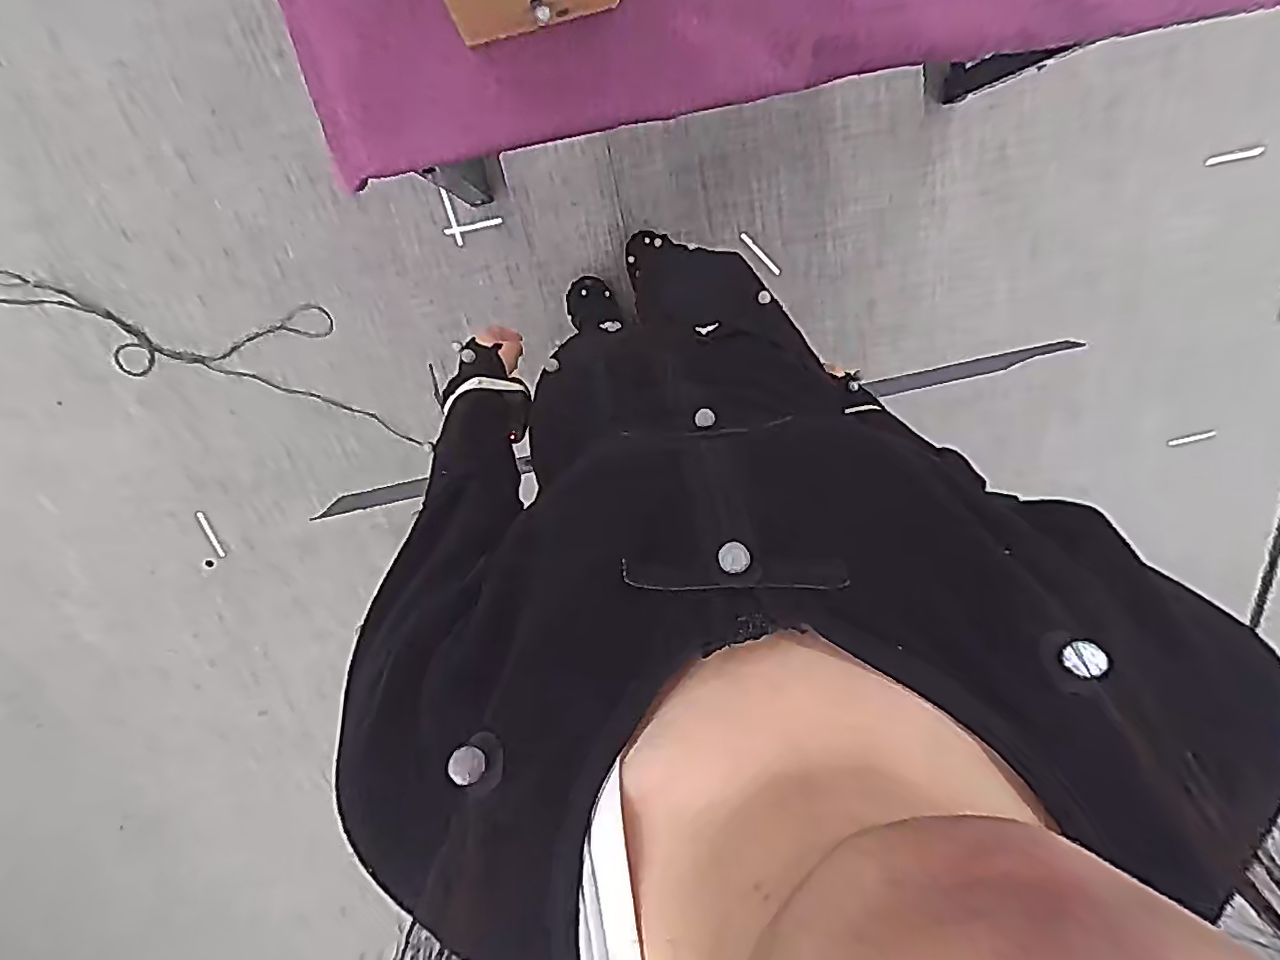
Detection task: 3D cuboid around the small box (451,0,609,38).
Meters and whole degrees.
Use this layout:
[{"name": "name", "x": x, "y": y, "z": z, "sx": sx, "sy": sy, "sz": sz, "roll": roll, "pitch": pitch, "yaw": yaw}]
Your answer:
[{"name": "small box", "x": -0.114, "y": -0.524, "z": 0.453, "sx": 0.168, "sy": 0.176, "sz": 0.179, "roll": -16, "pitch": 112, "yaw": 0}]
